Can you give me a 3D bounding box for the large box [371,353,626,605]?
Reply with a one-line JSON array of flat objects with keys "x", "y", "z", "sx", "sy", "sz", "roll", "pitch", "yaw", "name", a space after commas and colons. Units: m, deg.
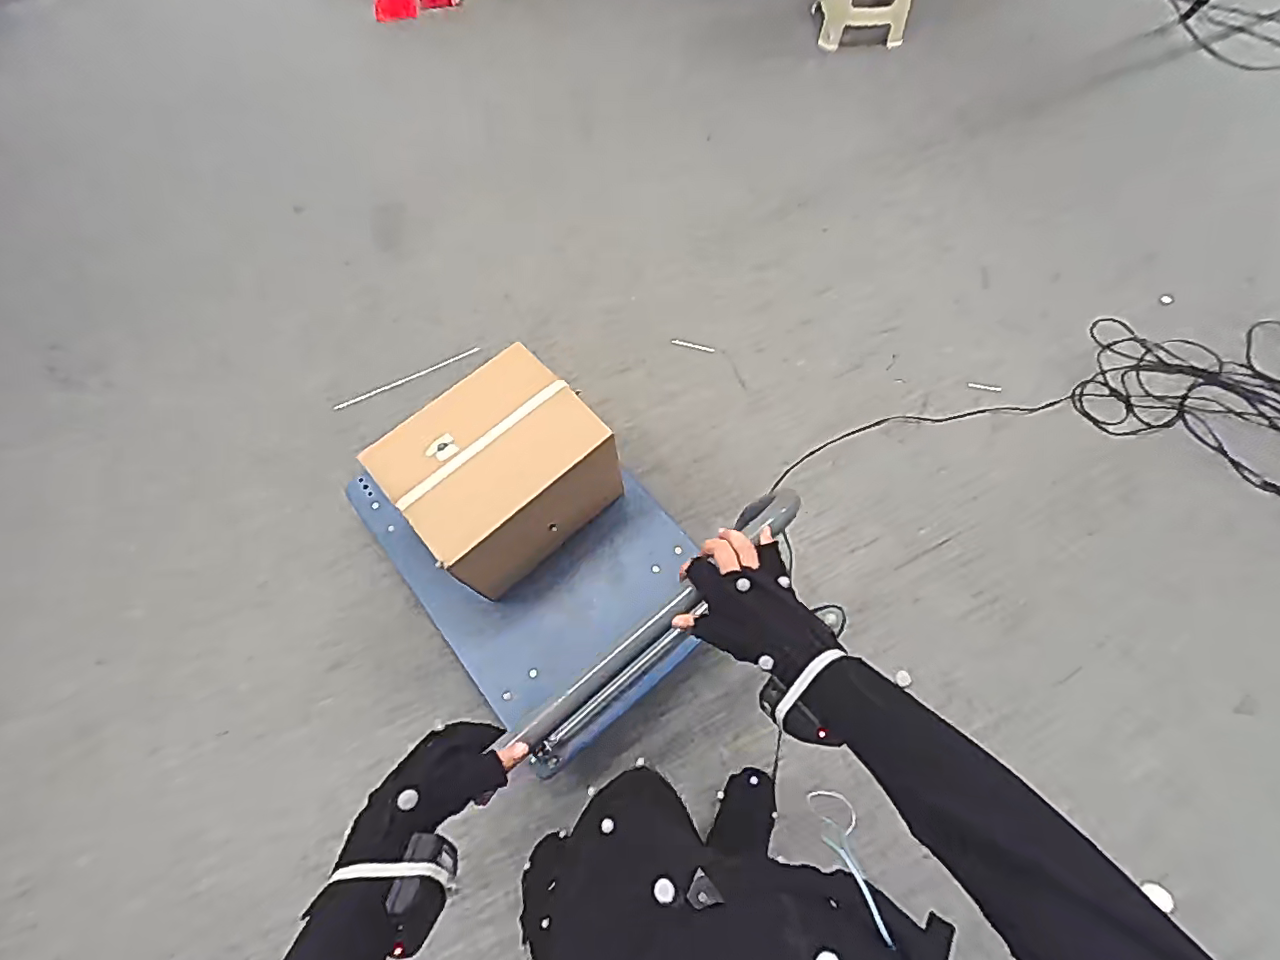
[{"x": -0.282, "y": 0.009, "z": 1.205, "sx": 0.408, "sy": 0.320, "sz": 0.320, "roll": -42, "pitch": 70, "yaw": -14, "name": "large box"}]
